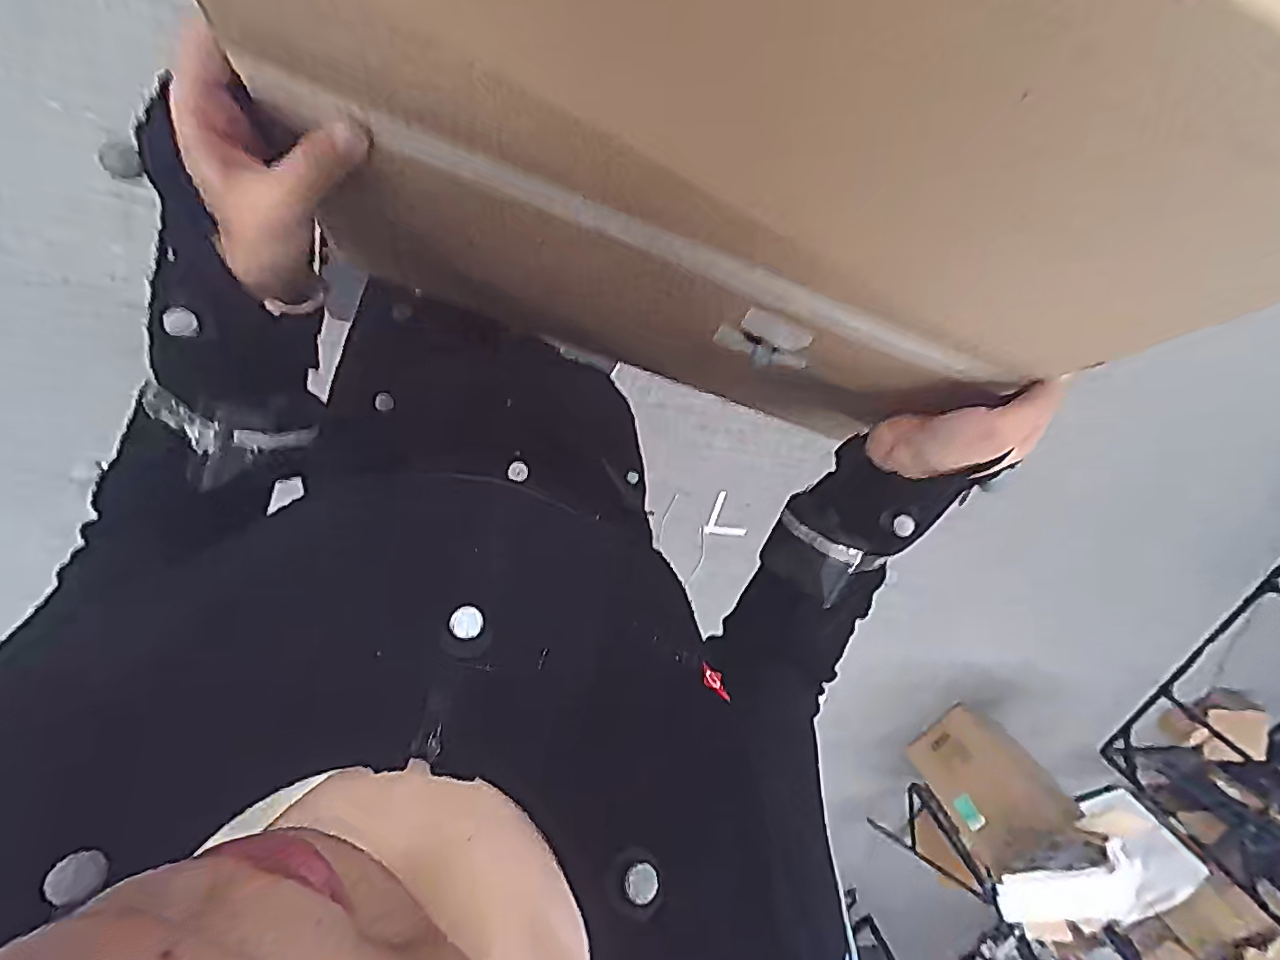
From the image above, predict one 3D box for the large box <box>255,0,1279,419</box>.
[{"bbox_3d":[0.078,-0.266,0.264,0.408,0.320,0.320,16,79,-11],"label":"large box"}]
